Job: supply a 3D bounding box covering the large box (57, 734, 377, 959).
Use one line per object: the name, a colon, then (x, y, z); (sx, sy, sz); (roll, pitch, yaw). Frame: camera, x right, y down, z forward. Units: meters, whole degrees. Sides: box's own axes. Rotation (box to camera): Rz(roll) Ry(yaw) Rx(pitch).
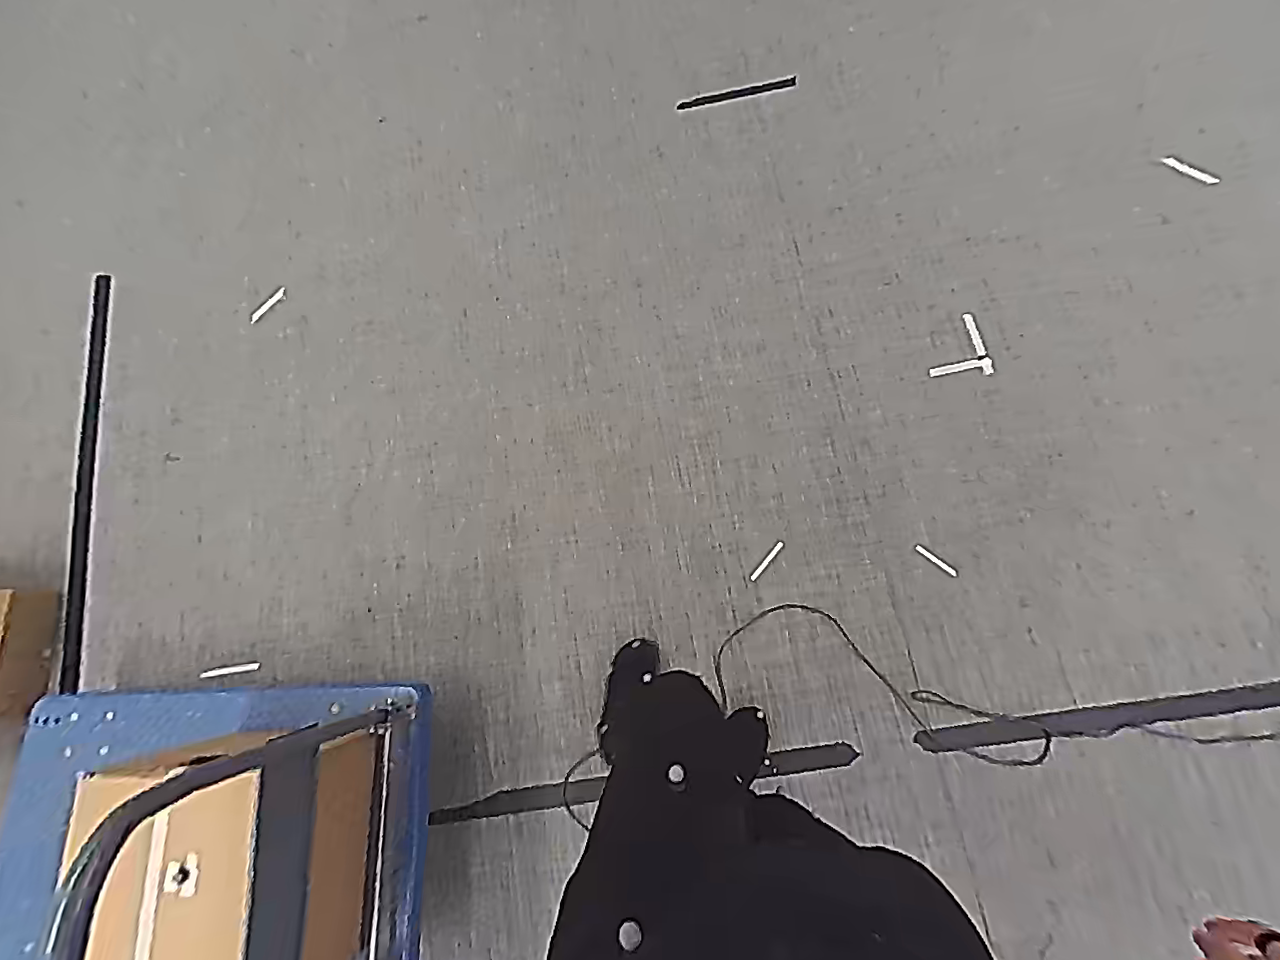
large box: (-0.693, 0.688, 0.936); (0.320, 0.320, 0.408); (-3, 75, 2)
